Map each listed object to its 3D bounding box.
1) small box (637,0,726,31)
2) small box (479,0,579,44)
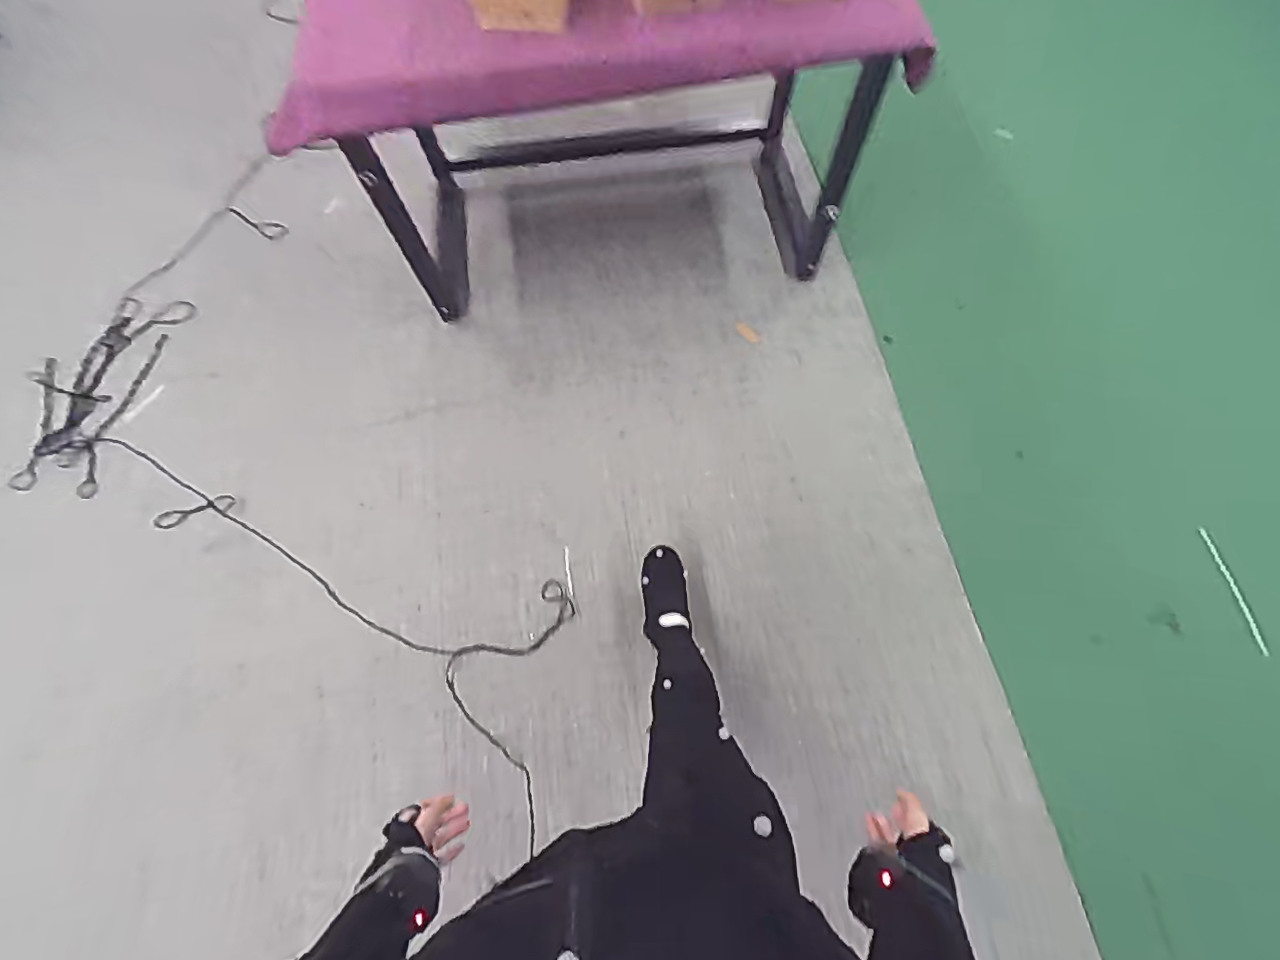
[{"bbox_3d":[0.074,-1.010,1.034,0.168,0.176,0.179,-10,69,-3],"label":"small box"},{"bbox_3d":[-0.214,-0.969,1.025,0.168,0.176,0.179,5,68,4],"label":"small box"}]
